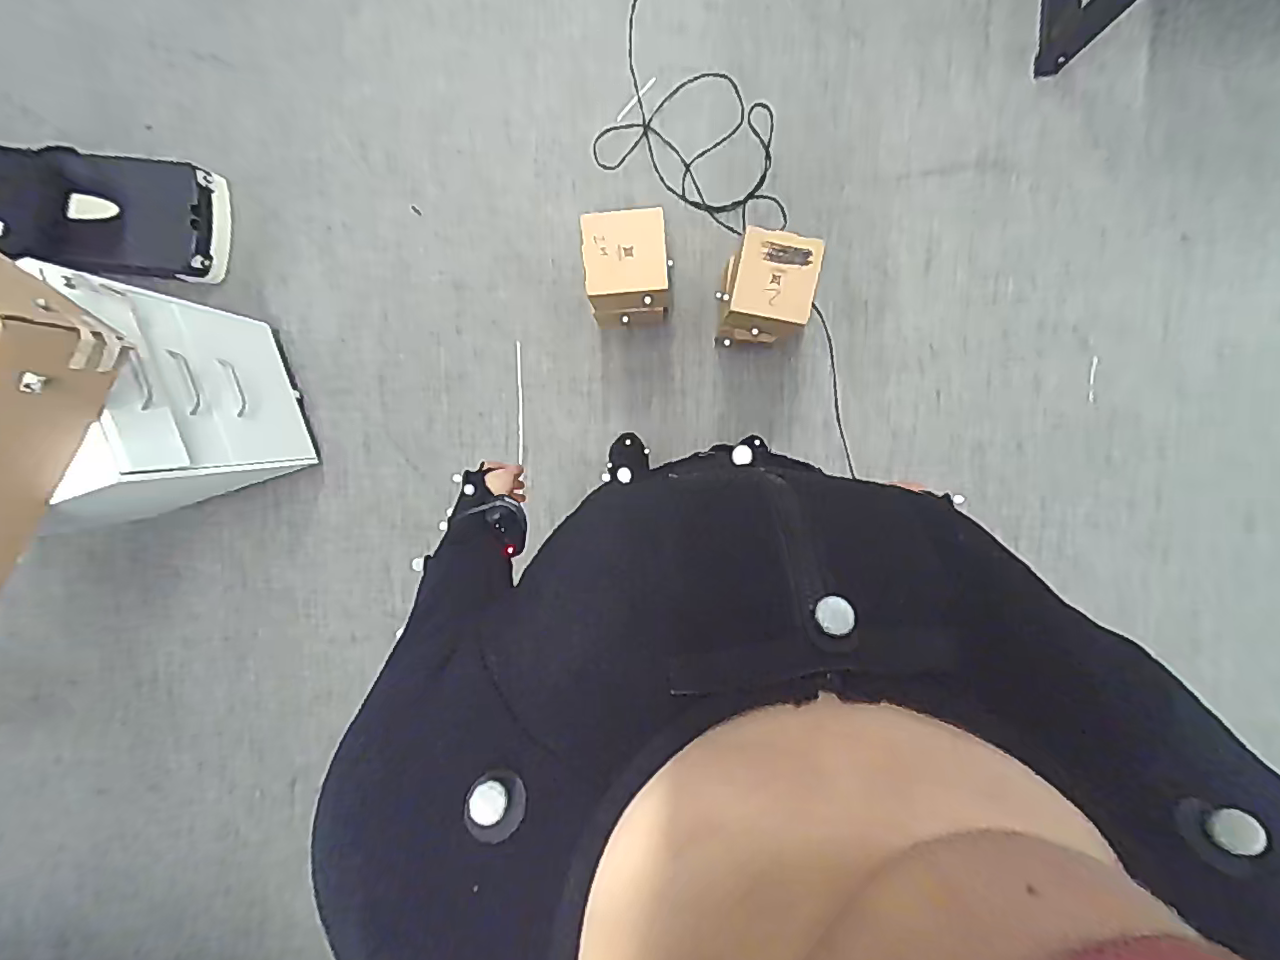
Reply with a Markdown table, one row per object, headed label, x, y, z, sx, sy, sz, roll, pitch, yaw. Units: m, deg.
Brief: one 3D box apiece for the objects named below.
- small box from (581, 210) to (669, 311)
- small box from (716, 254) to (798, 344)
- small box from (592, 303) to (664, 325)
| label | x | y | z | sx | sy | sz | roll | pitch | yaw |
| --- | --- | --- | --- | --- | --- | --- | --- | --- | --- |
| small box | -0.028 | -0.481 | 1.203 | 0.179 | 0.176 | 0.168 | -4 | 95 | 3 |
| small box | 0.286 | -0.447 | 1.358 | 0.168 | 0.176 | 0.179 | 6 | 95 | 2 |
| small box | -0.030 | -0.492 | 1.368 | 0.179 | 0.176 | 0.168 | -2 | 96 | 3 |
